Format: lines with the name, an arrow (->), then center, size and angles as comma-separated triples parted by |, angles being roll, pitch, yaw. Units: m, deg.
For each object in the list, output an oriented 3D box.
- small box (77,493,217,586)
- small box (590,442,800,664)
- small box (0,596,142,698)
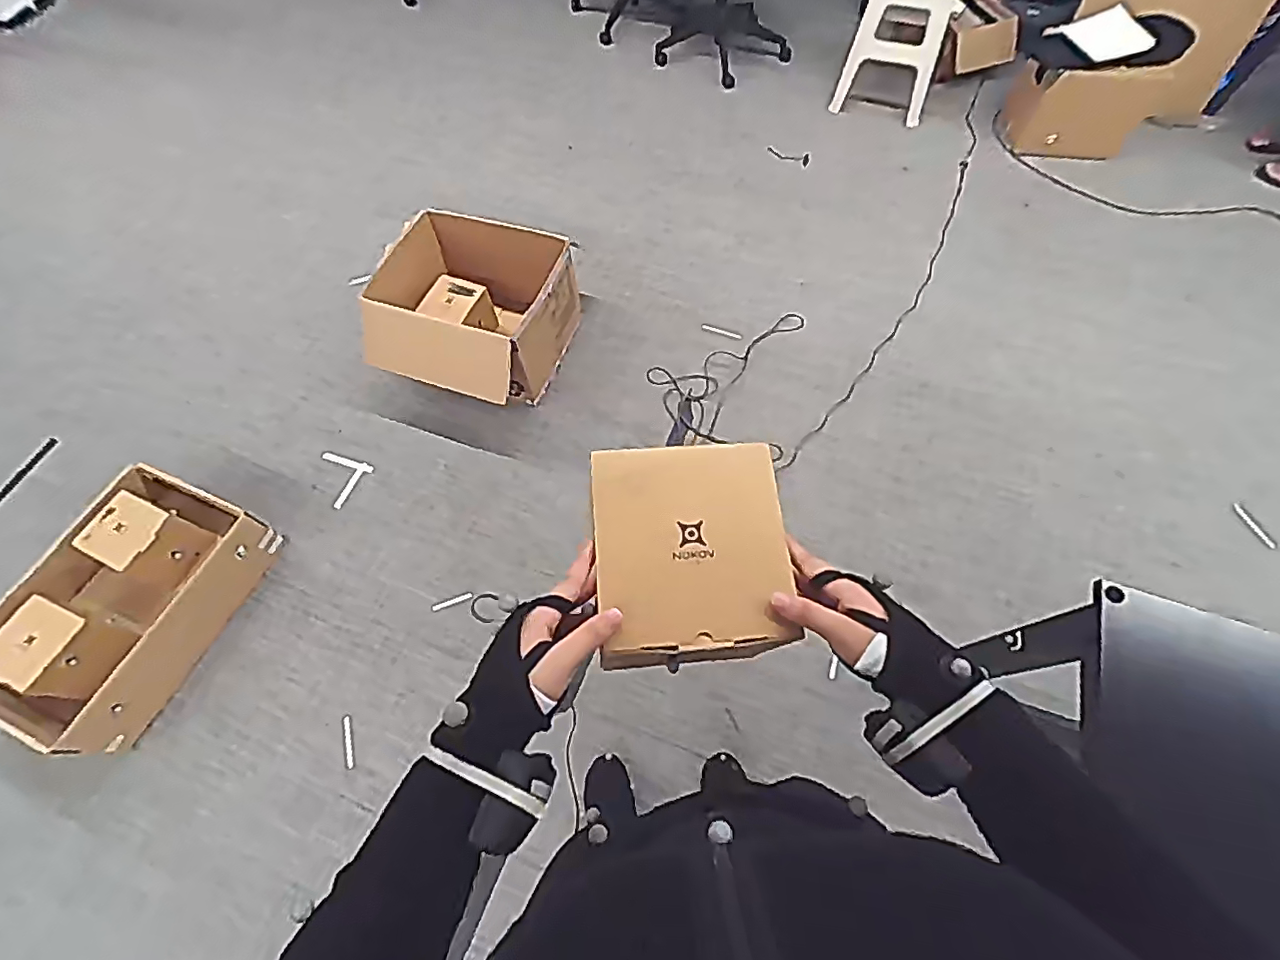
small box -> -1.291, 0.166, 1.433 | 0.179, 0.176, 0.168 | 23, 67, 10
small box -> 0.036, 0.079, 0.533 | 0.168, 0.176, 0.179 | -3, 68, -5
small box -> -1.390, 0.410, 1.312 | 0.168, 0.176, 0.179 | 21, 64, 9
